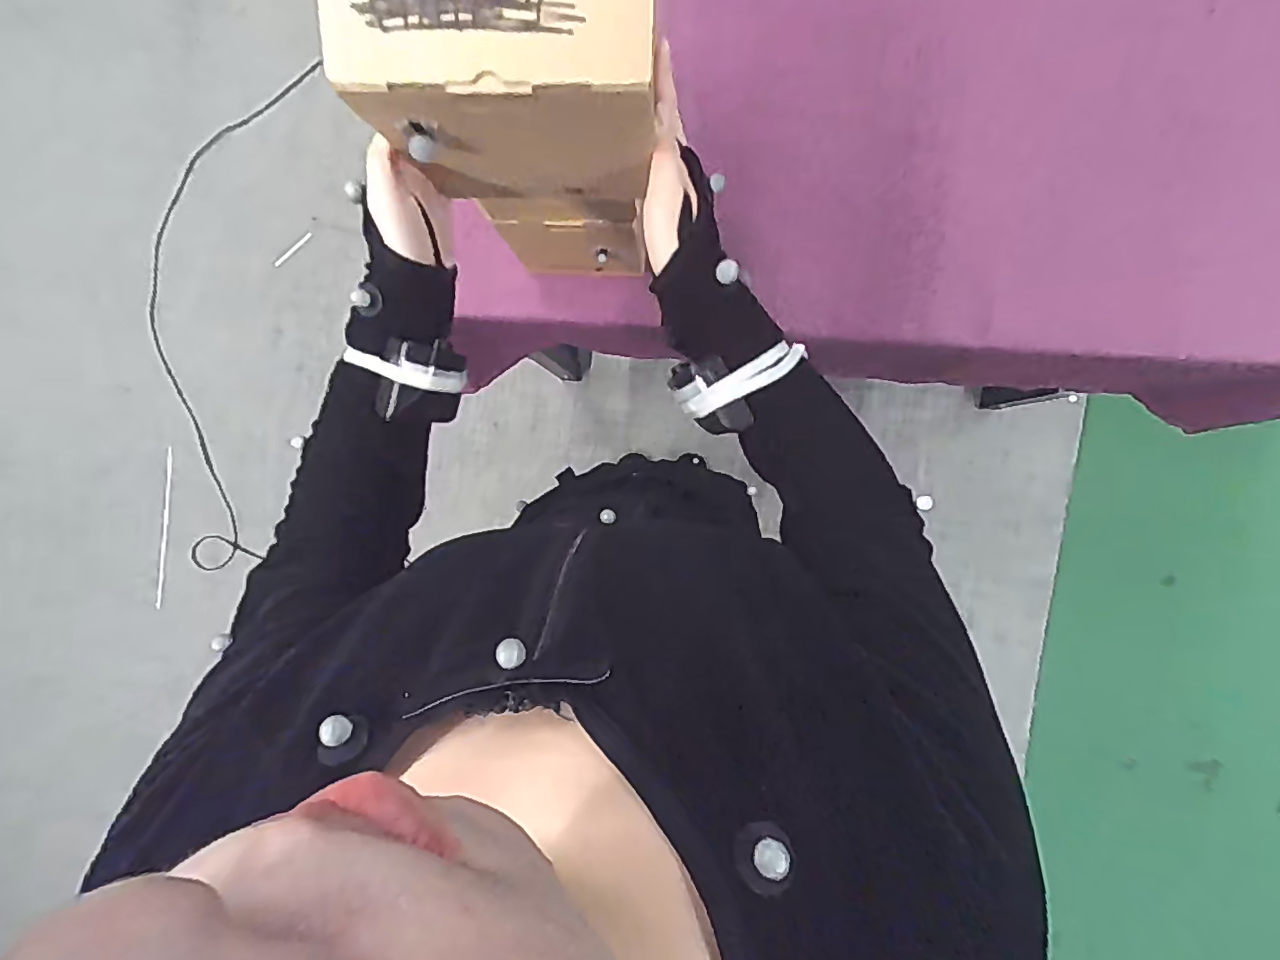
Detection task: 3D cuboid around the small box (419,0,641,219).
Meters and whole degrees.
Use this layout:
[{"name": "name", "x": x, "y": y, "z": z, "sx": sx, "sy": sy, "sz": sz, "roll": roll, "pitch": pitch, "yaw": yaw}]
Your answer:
[{"name": "small box", "x": -0.092, "y": -0.371, "z": 0.525, "sx": 0.179, "sy": 0.176, "sz": 0.168, "roll": 1, "pitch": 92, "yaw": 2}]

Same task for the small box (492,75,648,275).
[{"name": "small box", "x": -0.078, "y": -0.375, "z": 0.687, "sx": 0.168, "sy": 0.176, "sz": 0.179, "roll": 3, "pitch": 91, "yaw": 3}]
